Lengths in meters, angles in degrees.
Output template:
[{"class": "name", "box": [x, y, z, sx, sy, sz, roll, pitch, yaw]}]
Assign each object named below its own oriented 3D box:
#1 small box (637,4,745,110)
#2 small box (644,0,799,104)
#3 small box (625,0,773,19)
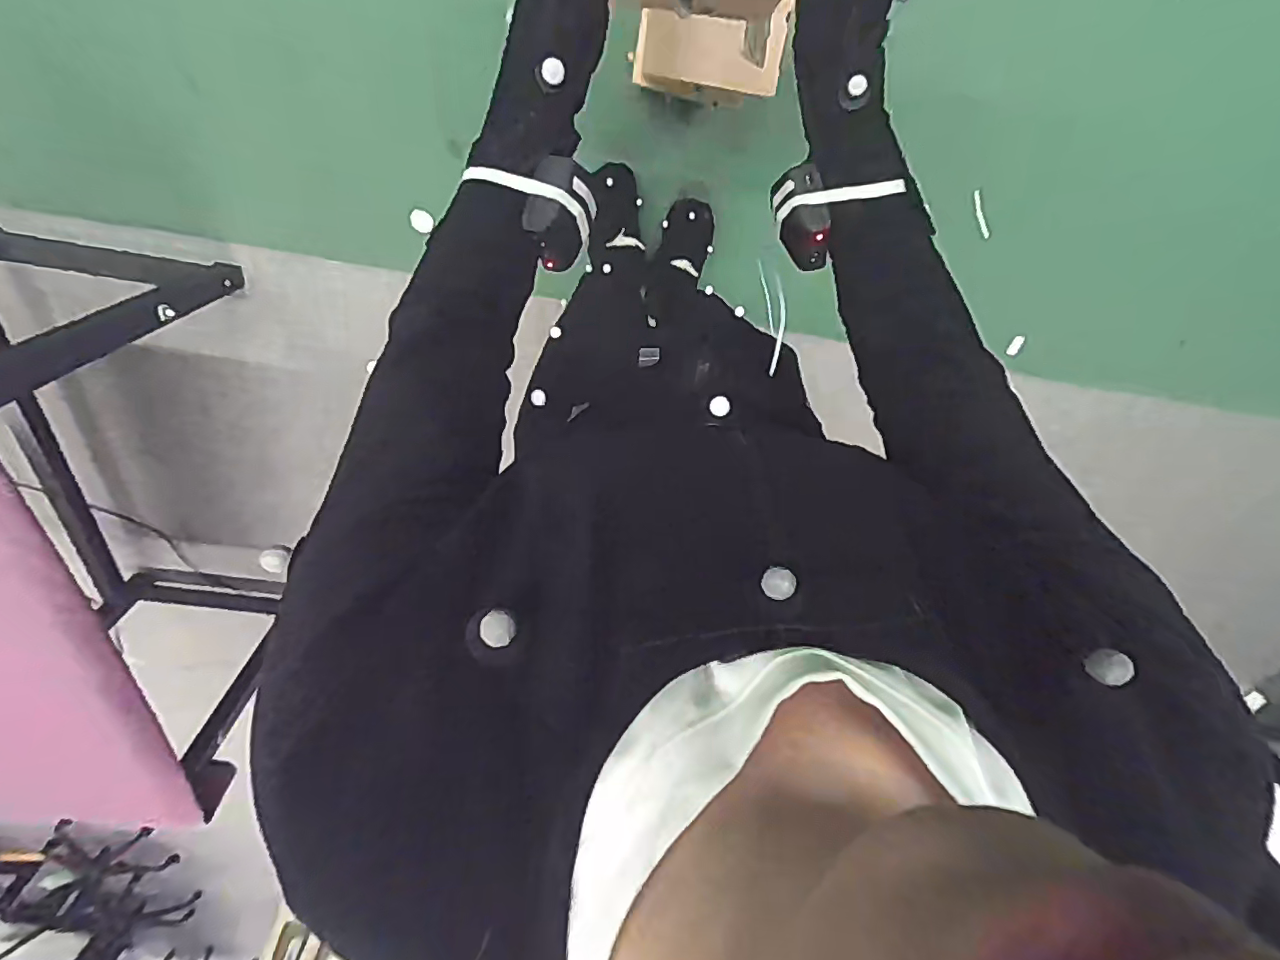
[{"class": "small box", "box": [0.092, -0.707, 0.867, 0.179, 0.176, 0.168, 7, 124, -7]}, {"class": "small box", "box": [0.103, -0.620, 0.727, 0.179, 0.176, 0.168, 7, 124, -5]}, {"class": "small box", "box": [0.048, -0.489, 0.404, 0.168, 0.176, 0.179, 5, 118, -3]}]
